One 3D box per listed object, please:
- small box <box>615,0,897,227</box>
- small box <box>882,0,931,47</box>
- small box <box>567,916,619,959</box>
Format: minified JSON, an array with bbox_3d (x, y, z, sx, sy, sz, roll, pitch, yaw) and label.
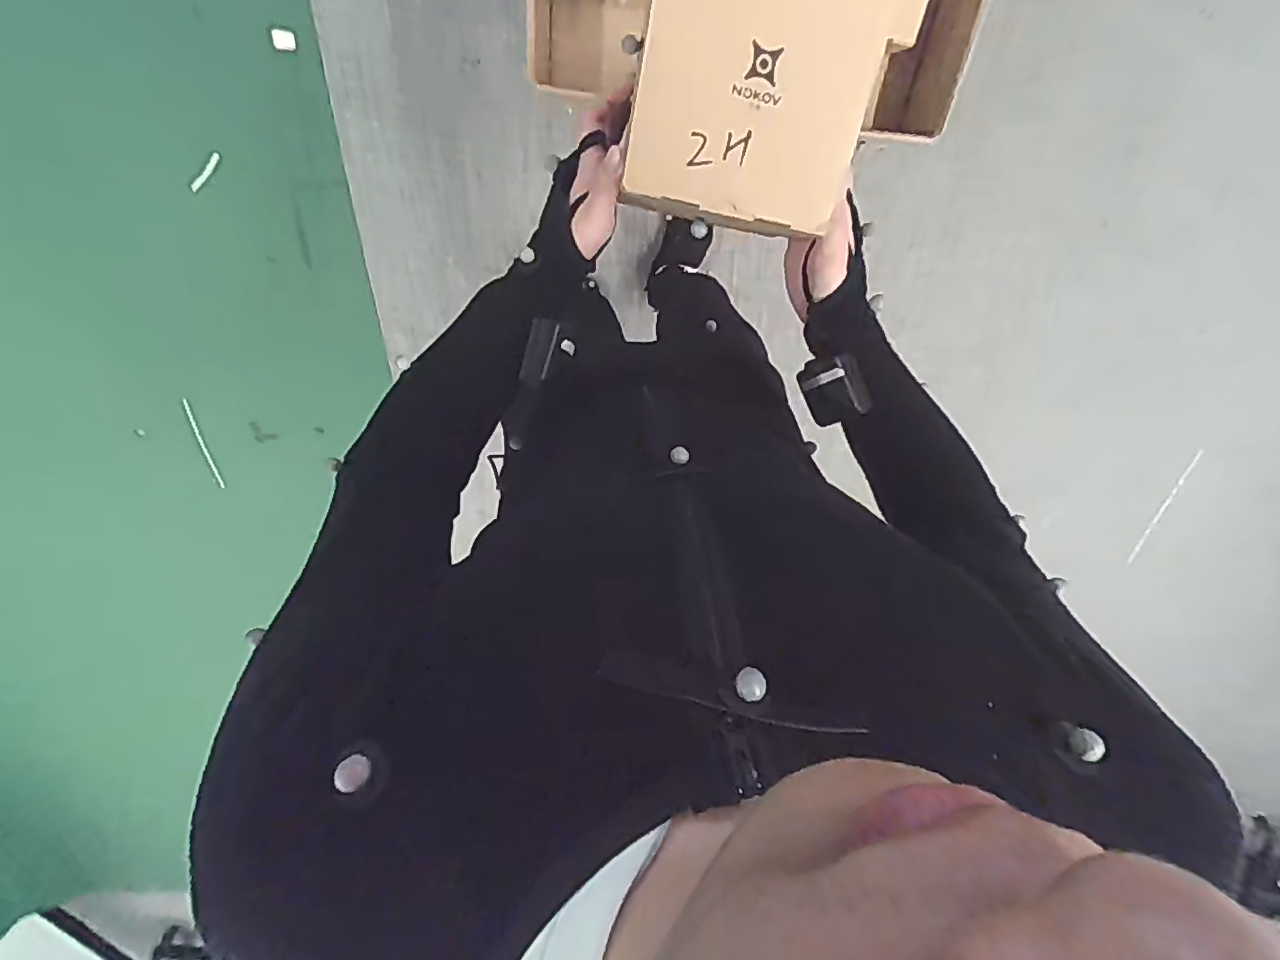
[{"bbox_3d":[0.074,-0.317,0.436,0.168,0.176,0.179,9,113,-8],"label":"small box"},{"bbox_3d":[0.297,-0.705,0.722,0.168,0.176,0.179,7,124,-4],"label":"small box"},{"bbox_3d":[-0.157,1.624,1.844,0.168,0.176,0.179,0,122,0],"label":"small box"}]
